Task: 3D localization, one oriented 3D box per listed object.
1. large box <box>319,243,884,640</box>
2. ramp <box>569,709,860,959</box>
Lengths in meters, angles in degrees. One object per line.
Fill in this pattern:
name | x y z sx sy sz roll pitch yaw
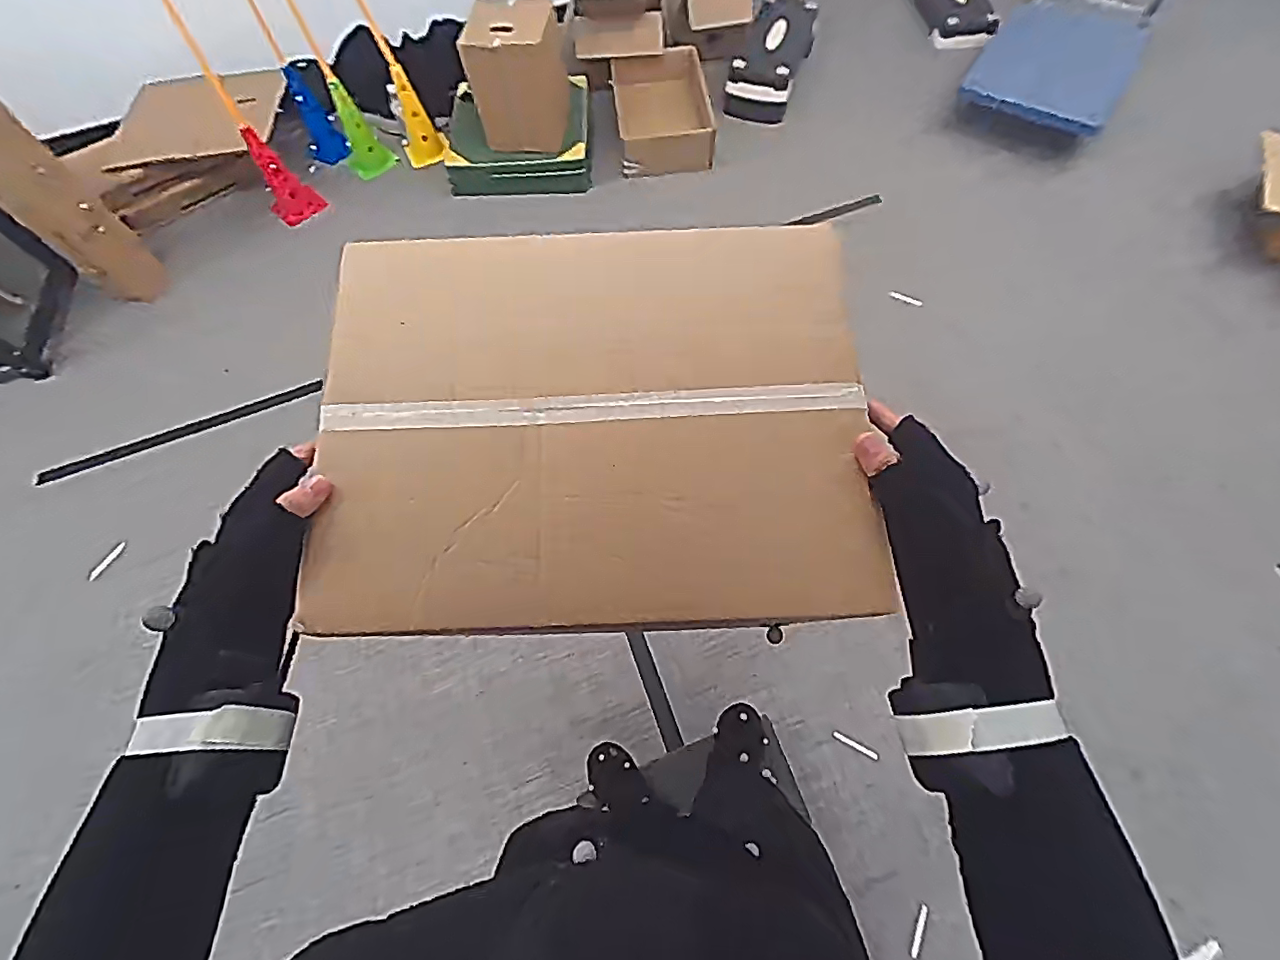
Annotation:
large box | -0.029 -0.006 0.557 0.408 0.320 0.320 -1 74 0
ramp | 0.236 1.083 1.172 0.509 0.206 0.991 -21 67 -9
